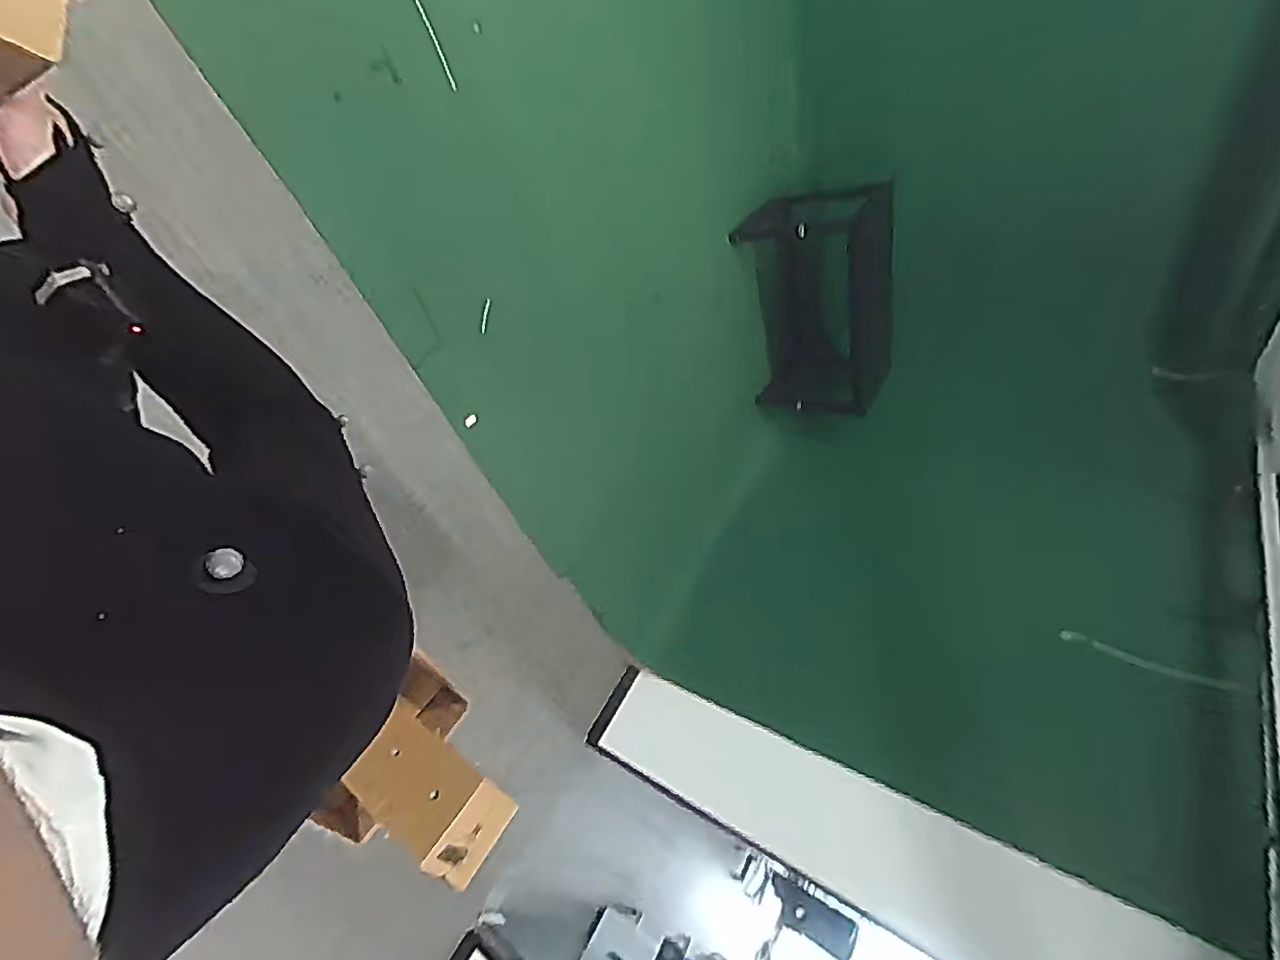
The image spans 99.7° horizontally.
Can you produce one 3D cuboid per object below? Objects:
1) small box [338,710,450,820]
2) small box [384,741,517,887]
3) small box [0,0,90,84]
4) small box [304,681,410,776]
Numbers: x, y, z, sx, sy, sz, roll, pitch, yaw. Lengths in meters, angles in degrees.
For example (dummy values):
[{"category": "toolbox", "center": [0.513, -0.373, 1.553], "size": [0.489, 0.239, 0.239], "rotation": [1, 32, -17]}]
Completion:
[{"category": "small box", "center": [-0.532, 0.658, 1.221], "size": [0.179, 0.176, 0.168], "rotation": [-51, 137, -34]}, {"category": "small box", "center": [-0.400, 0.688, 1.127], "size": [0.179, 0.176, 0.168], "rotation": [-52, 138, -33]}, {"category": "small box", "center": [-0.372, -0.307, 0.232], "size": [0.179, 0.176, 0.168], "rotation": [2, 106, -55]}, {"category": "small box", "center": [-0.664, 0.625, 1.313], "size": [0.179, 0.176, 0.168], "rotation": [-49, 136, -34]}]
